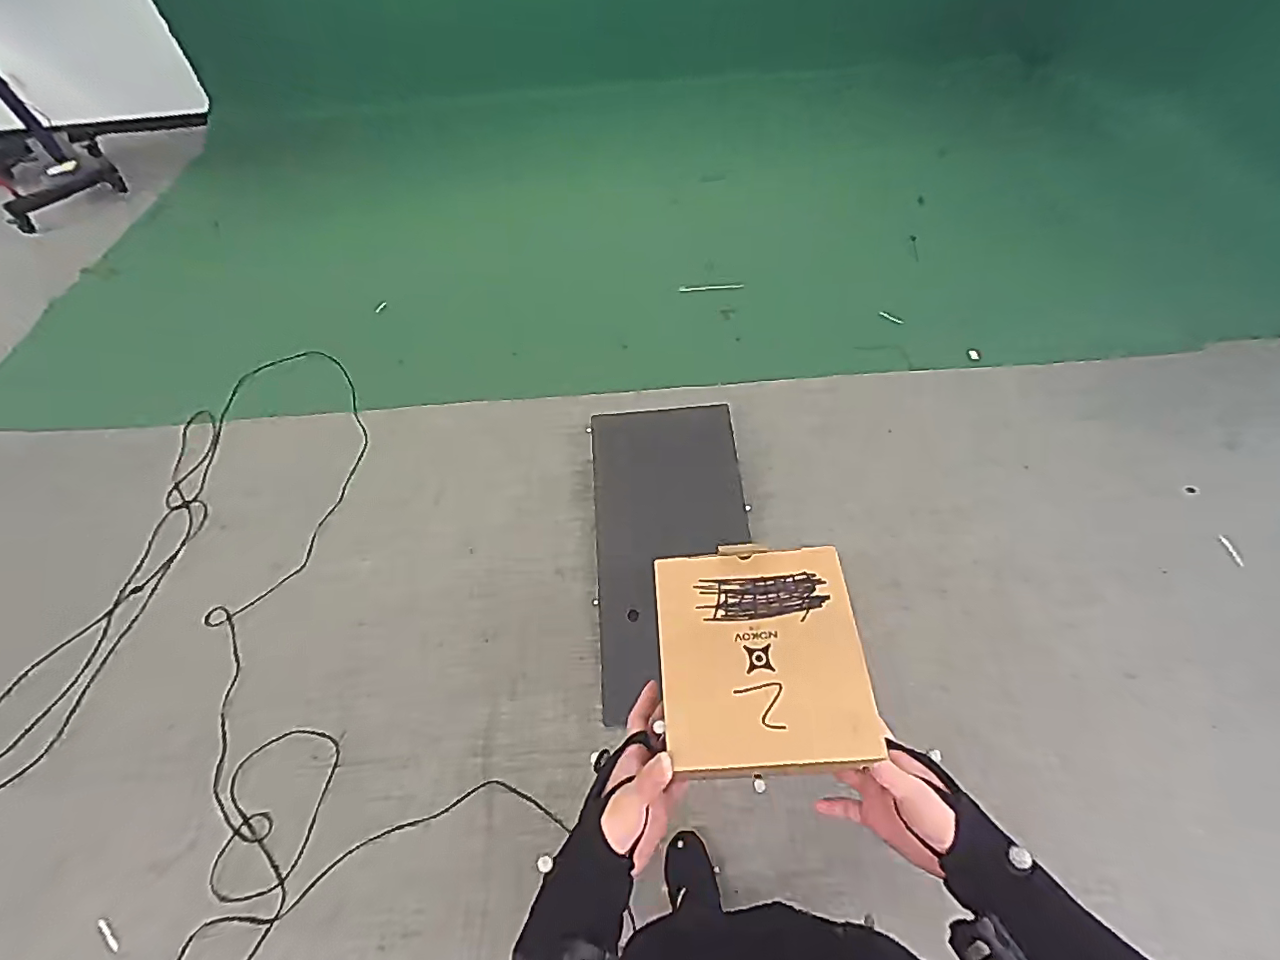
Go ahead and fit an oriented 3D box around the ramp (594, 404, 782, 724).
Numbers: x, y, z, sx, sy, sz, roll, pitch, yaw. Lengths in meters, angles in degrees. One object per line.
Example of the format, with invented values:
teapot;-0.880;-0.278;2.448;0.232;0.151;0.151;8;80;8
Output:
ramp;0.117;0.204;1.694;0.509;0.206;0.991;-5;55;-1
